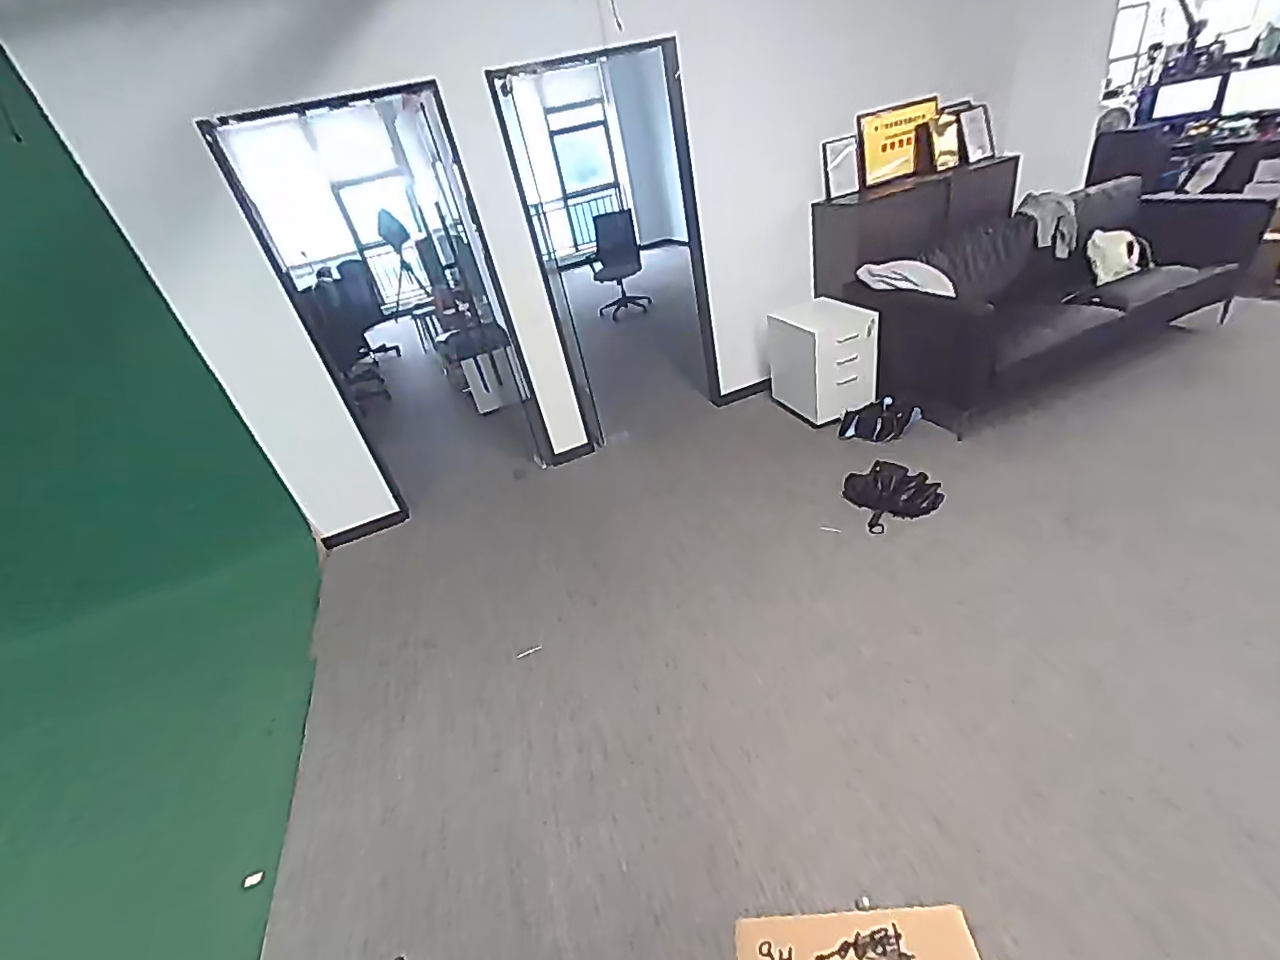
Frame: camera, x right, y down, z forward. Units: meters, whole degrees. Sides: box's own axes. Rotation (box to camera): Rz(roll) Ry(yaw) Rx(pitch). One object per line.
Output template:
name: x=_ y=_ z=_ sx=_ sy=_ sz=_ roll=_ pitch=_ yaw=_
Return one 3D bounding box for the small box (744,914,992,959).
small box: x=0.173 y=0.432 z=0.368 sx=0.168 sy=0.176 sz=0.179 roll=-11 pitch=35 yaw=9
